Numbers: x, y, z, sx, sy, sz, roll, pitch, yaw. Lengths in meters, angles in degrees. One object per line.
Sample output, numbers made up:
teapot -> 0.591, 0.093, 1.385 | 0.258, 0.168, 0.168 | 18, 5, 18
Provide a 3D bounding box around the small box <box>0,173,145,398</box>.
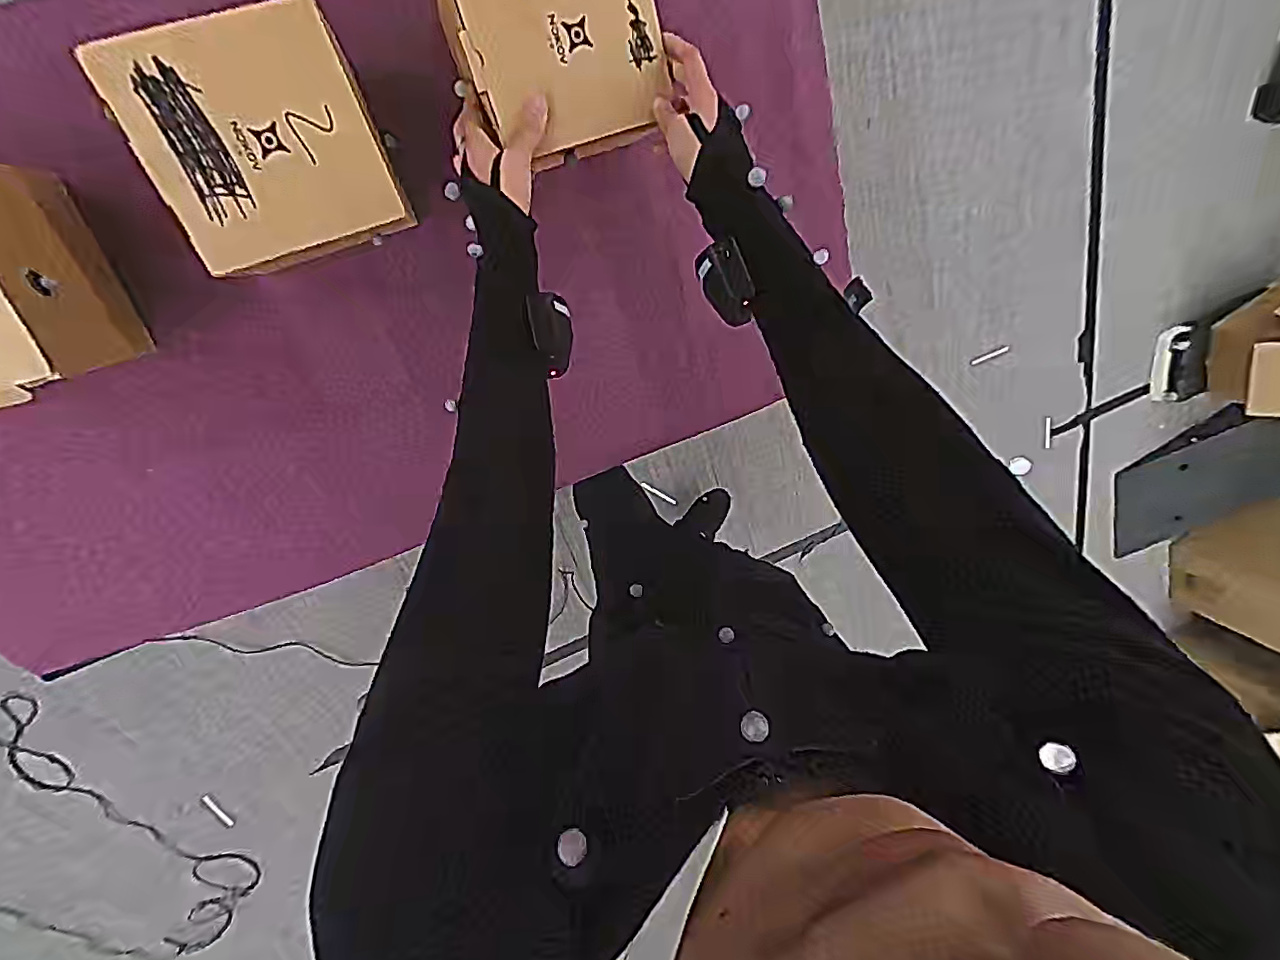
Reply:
small box -> -0.601, -0.164, 0.473 | 0.168, 0.176, 0.179 | -18, 115, -12
